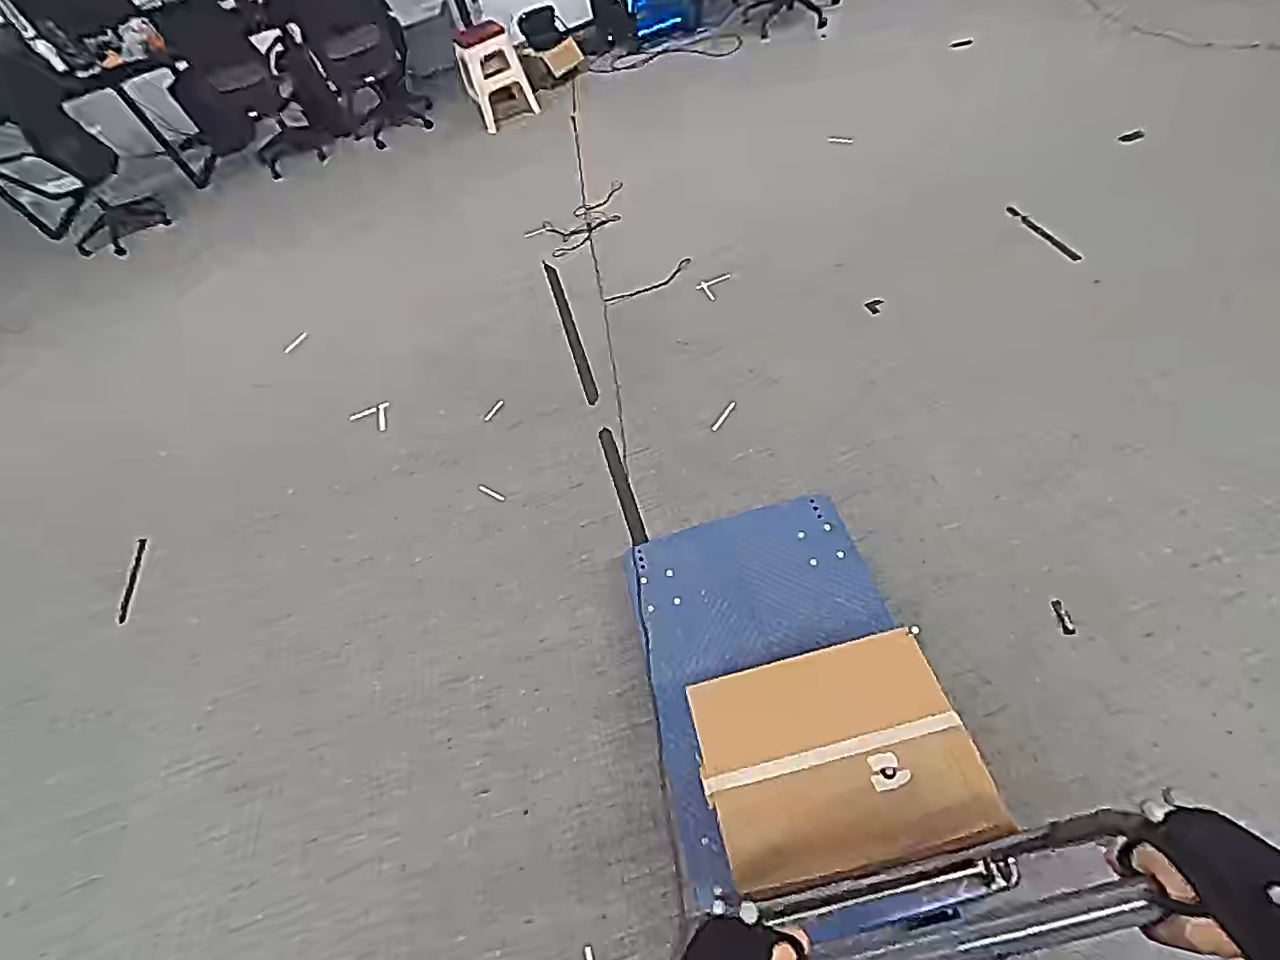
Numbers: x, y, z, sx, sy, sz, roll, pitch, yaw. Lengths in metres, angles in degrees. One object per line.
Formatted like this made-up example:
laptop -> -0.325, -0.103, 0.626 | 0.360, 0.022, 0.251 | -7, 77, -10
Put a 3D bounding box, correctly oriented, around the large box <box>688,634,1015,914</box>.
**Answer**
large box -> 0.331, 0.524, 0.963 | 0.408, 0.320, 0.320 | -16, 53, 1
